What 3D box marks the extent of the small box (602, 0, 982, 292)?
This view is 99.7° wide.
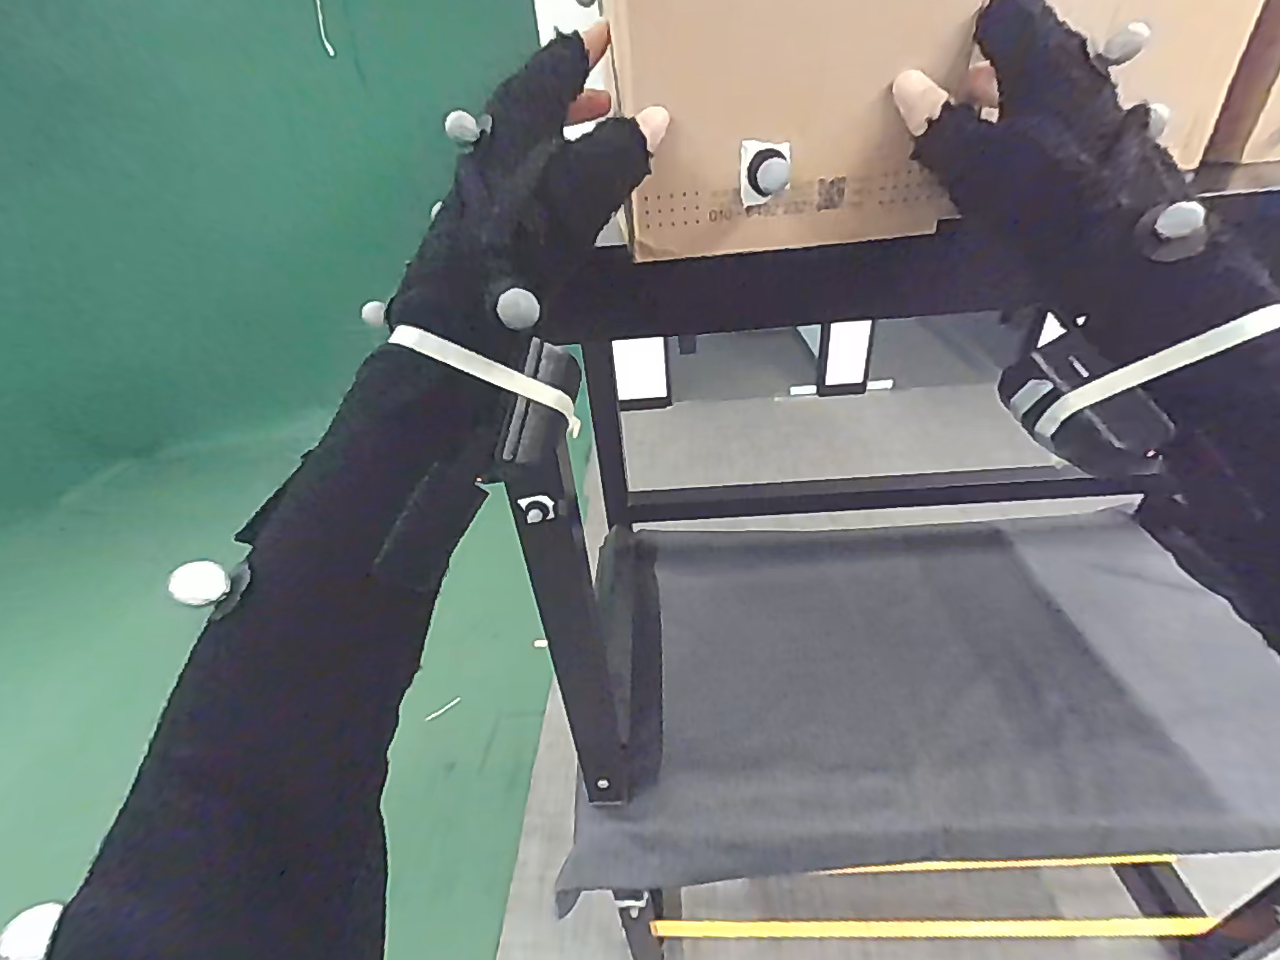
[{"bbox_3d":[0.066,-0.222,0.324,0.168,0.176,0.179,-8,34,-1],"label":"small box"}]

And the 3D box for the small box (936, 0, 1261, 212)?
[{"bbox_3d":[0.307,-0.315,0.426,0.168,0.176,0.179,-4,34,2],"label":"small box"}]
